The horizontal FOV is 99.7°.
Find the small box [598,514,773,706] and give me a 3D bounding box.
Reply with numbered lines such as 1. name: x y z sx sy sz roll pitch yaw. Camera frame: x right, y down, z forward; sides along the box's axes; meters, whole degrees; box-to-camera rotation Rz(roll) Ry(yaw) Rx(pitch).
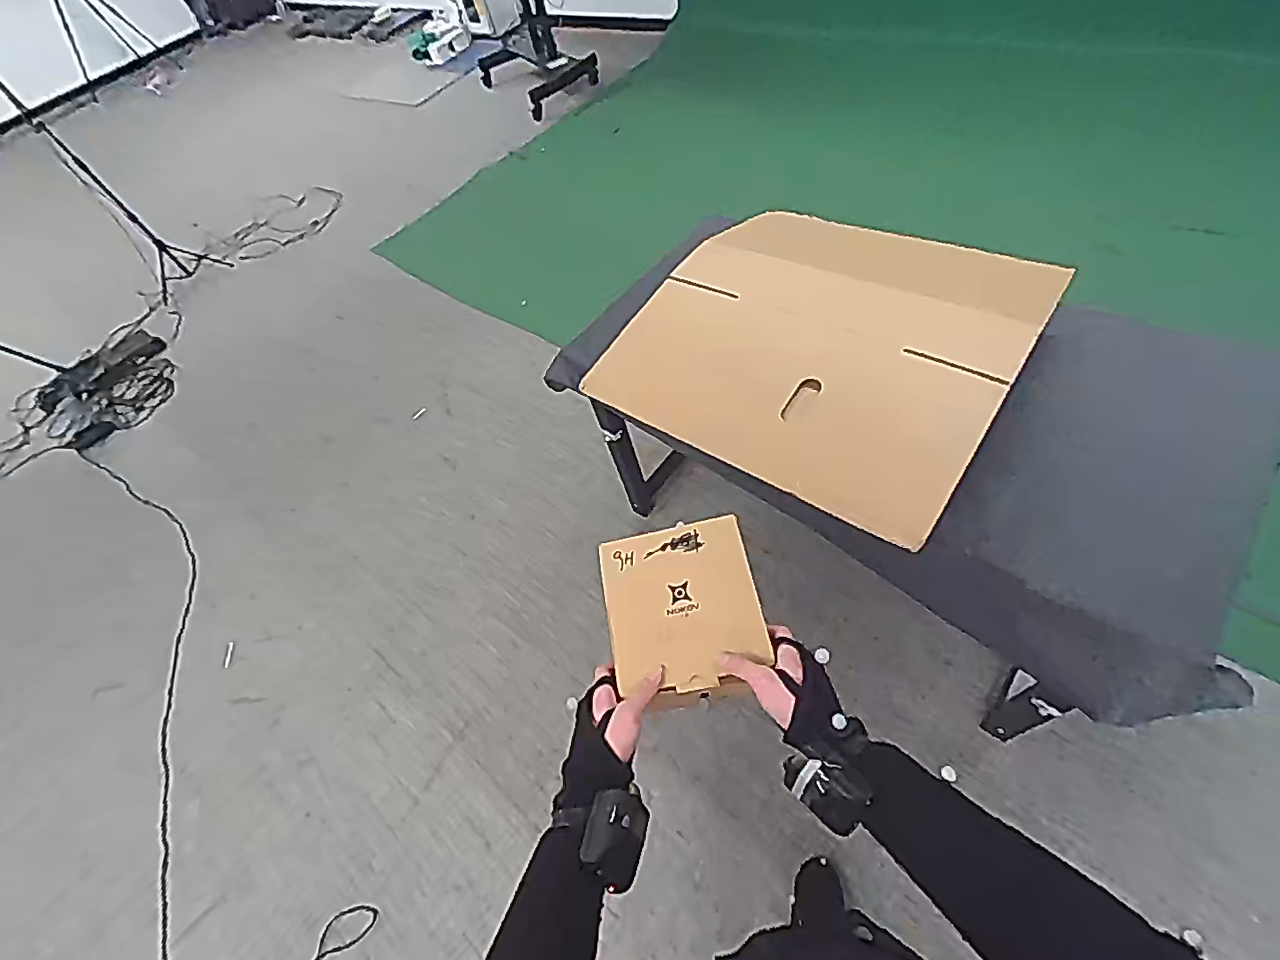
1. small box: 0.059 0.169 0.664 0.168 0.176 0.179 -15 60 3
